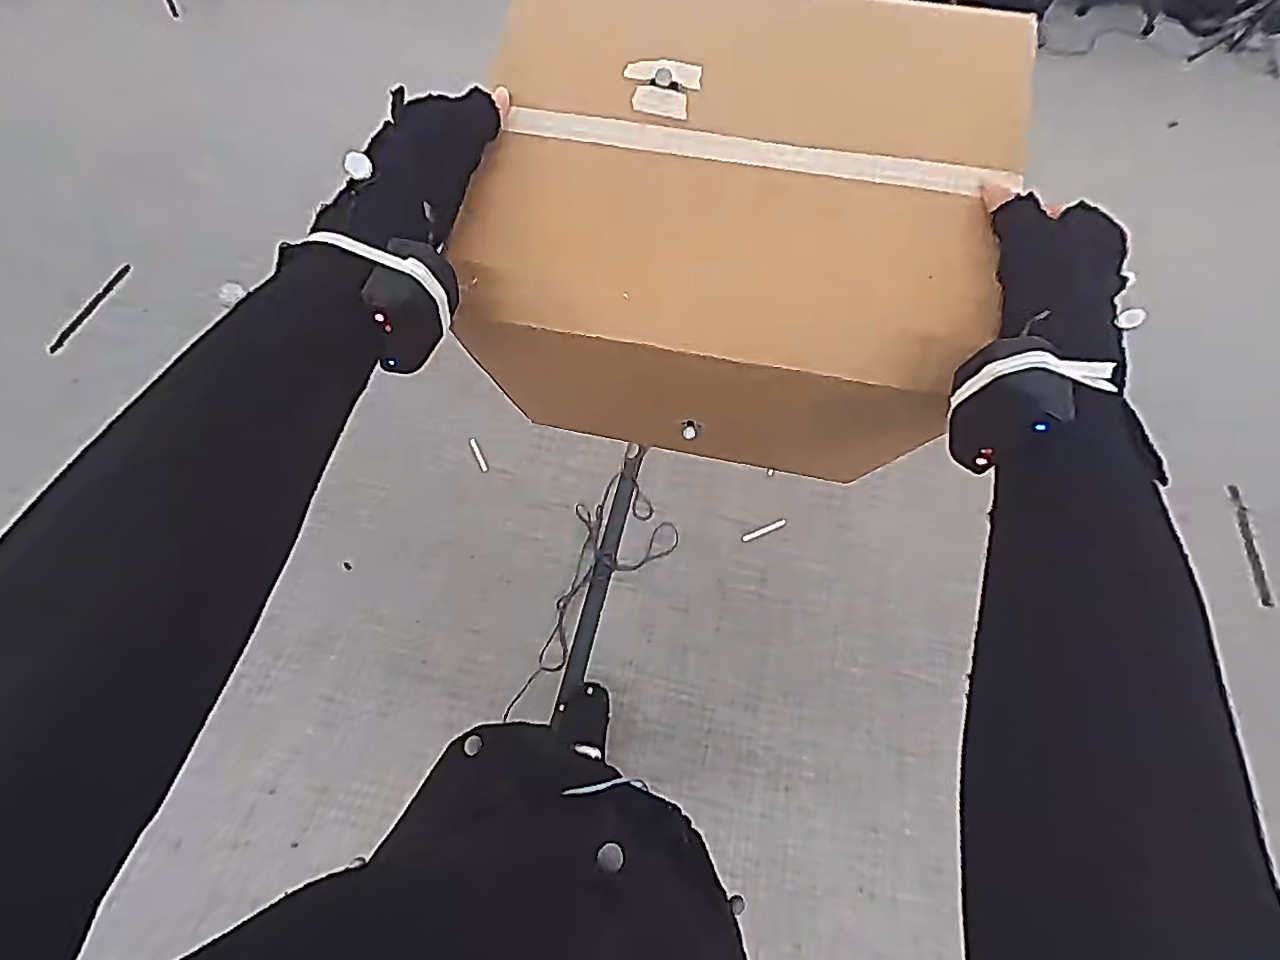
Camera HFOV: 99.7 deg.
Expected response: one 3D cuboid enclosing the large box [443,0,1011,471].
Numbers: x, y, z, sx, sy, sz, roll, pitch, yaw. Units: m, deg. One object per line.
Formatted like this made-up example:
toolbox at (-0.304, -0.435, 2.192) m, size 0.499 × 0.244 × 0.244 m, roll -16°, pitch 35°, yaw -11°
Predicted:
large box at (0.082, -0.213, 0.566) m, size 0.408 × 0.320 × 0.320 m, roll 11°, pitch 80°, yaw 6°
